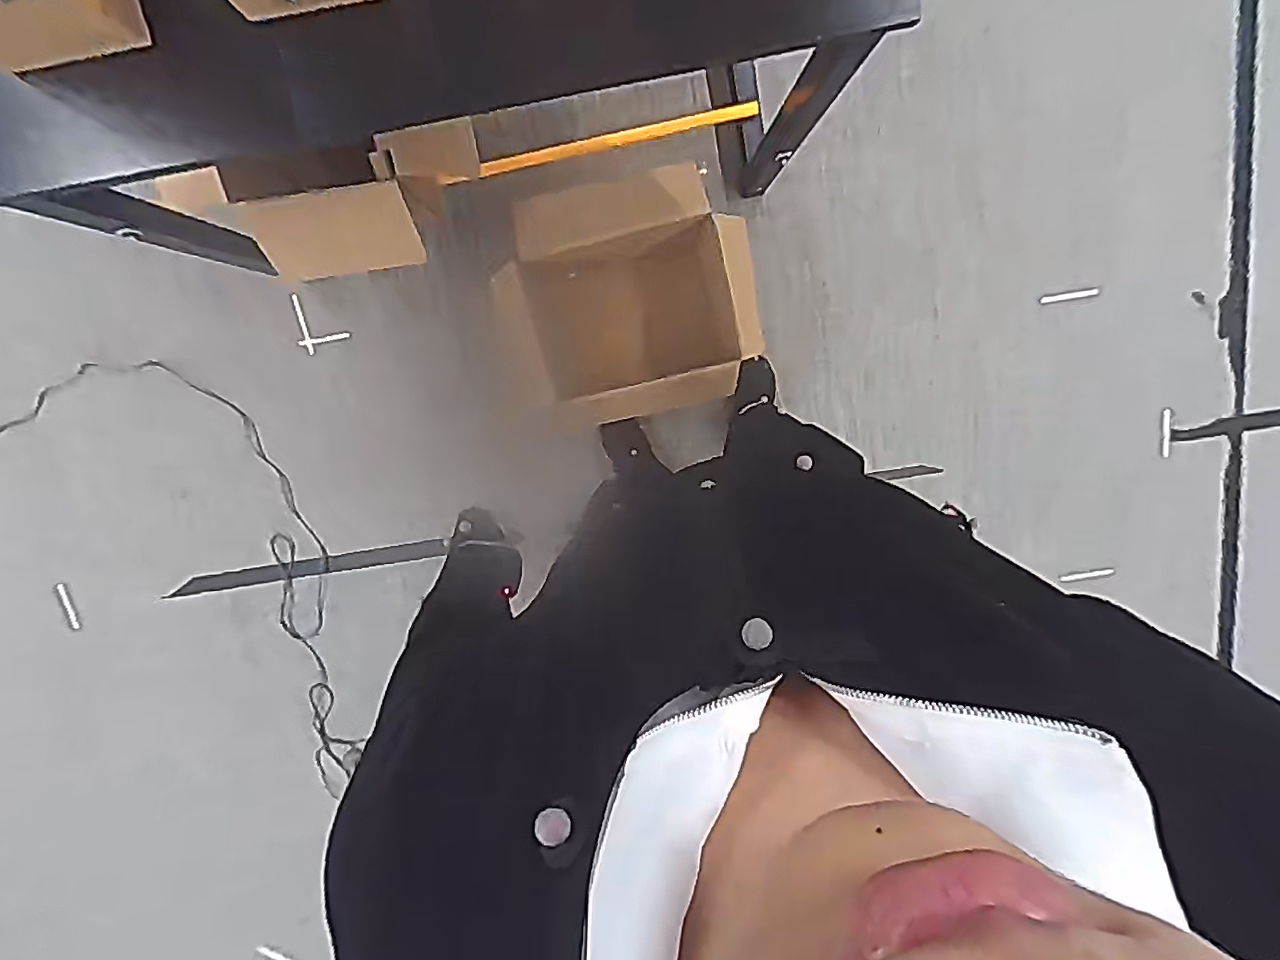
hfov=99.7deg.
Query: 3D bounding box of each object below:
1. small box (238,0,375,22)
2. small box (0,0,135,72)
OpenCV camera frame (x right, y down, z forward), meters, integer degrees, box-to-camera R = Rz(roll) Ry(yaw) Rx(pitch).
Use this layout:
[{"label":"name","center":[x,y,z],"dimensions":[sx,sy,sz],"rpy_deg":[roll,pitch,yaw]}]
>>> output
[{"label":"small box","center":[-0.390,-0.615,0.537],"dimensions":[0.168,0.176,0.179],"rpy_deg":[-10,102,1]},{"label":"small box","center":[-0.669,-0.554,0.540],"dimensions":[0.179,0.176,0.168],"rpy_deg":[-12,101,0]}]
